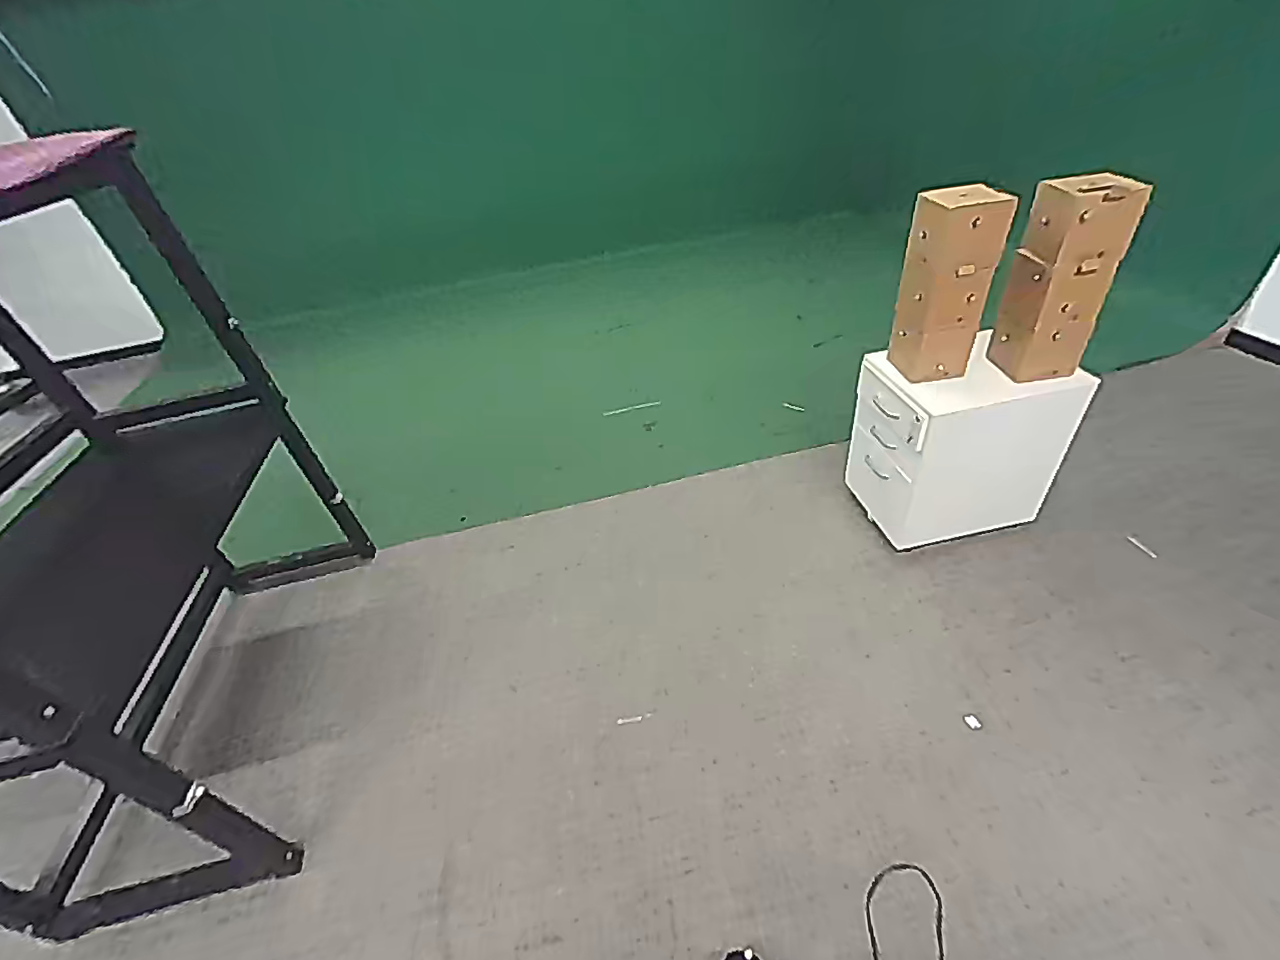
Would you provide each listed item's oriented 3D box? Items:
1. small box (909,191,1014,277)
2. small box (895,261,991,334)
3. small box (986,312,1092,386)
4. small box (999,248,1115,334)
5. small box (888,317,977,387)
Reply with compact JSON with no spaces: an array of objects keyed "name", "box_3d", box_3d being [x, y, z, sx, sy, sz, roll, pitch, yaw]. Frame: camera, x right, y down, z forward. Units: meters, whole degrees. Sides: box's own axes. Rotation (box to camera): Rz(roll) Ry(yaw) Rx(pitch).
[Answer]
[{"name":"small box","box_3d":[0.848,-0.658,1.454,0.179,0.176,0.168,-7,40,-1]},{"name":"small box","box_3d":[0.863,-0.531,1.558,0.168,0.176,0.179,-7,38,0]},{"name":"small box","box_3d":[1.161,-0.395,1.592,0.168,0.176,0.179,-8,38,3]},{"name":"small box","box_3d":[1.137,-0.522,1.494,0.168,0.176,0.179,-8,39,2]},{"name":"small box","box_3d":[0.885,-0.405,1.658,0.168,0.176,0.179,-8,40,1]}]
